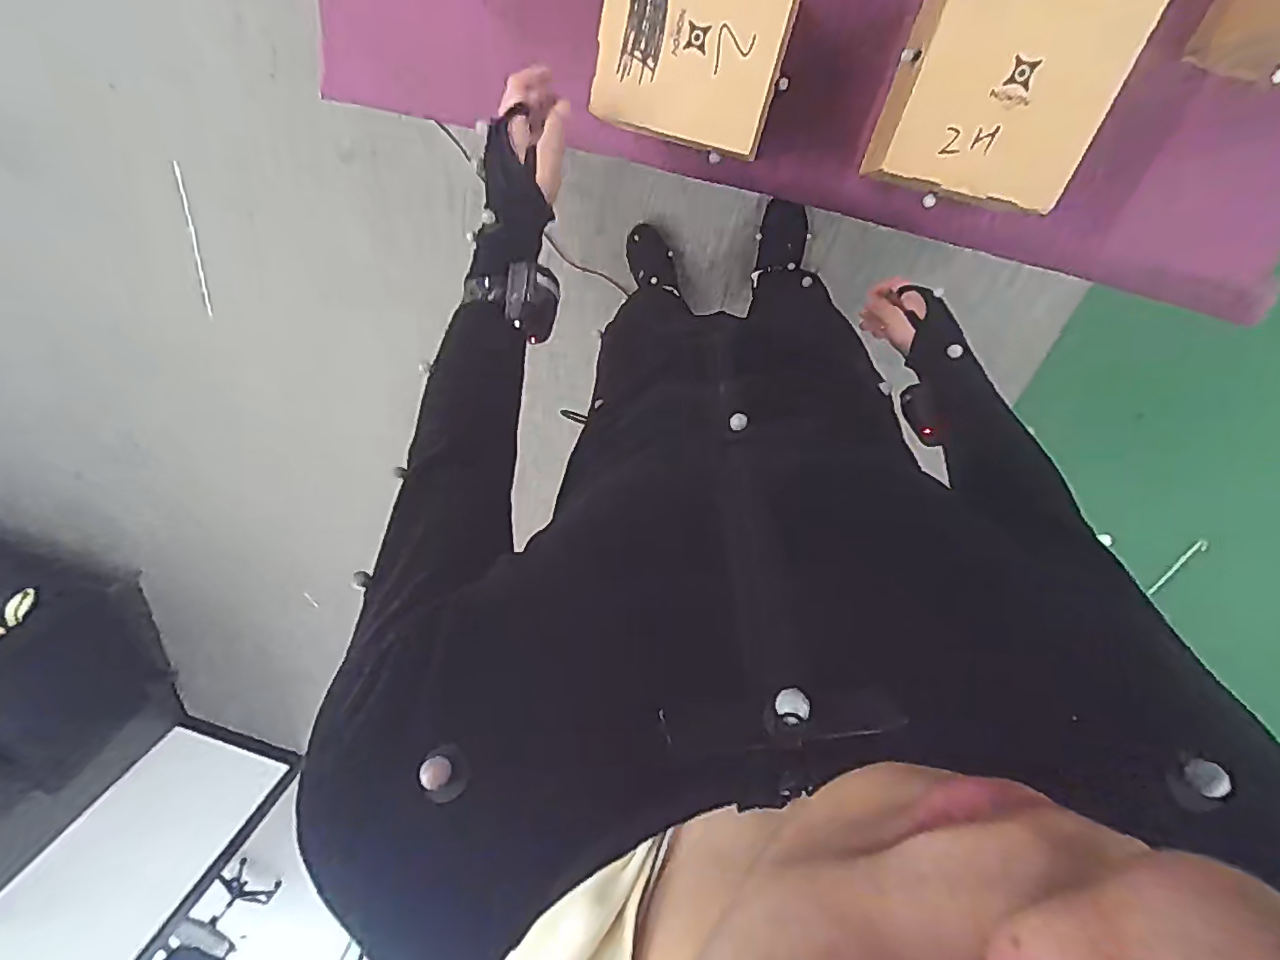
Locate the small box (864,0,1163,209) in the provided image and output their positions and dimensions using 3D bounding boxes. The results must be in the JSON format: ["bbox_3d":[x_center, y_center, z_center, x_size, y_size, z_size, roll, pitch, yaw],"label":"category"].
[{"bbox_3d":[0.345,-0.392,0.545,0.168,0.176,0.179,18,121,4],"label":"small box"}]

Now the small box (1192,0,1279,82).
[{"bbox_3d":[0.635,-0.448,0.442,0.168,0.176,0.179,18,123,4],"label":"small box"}]
